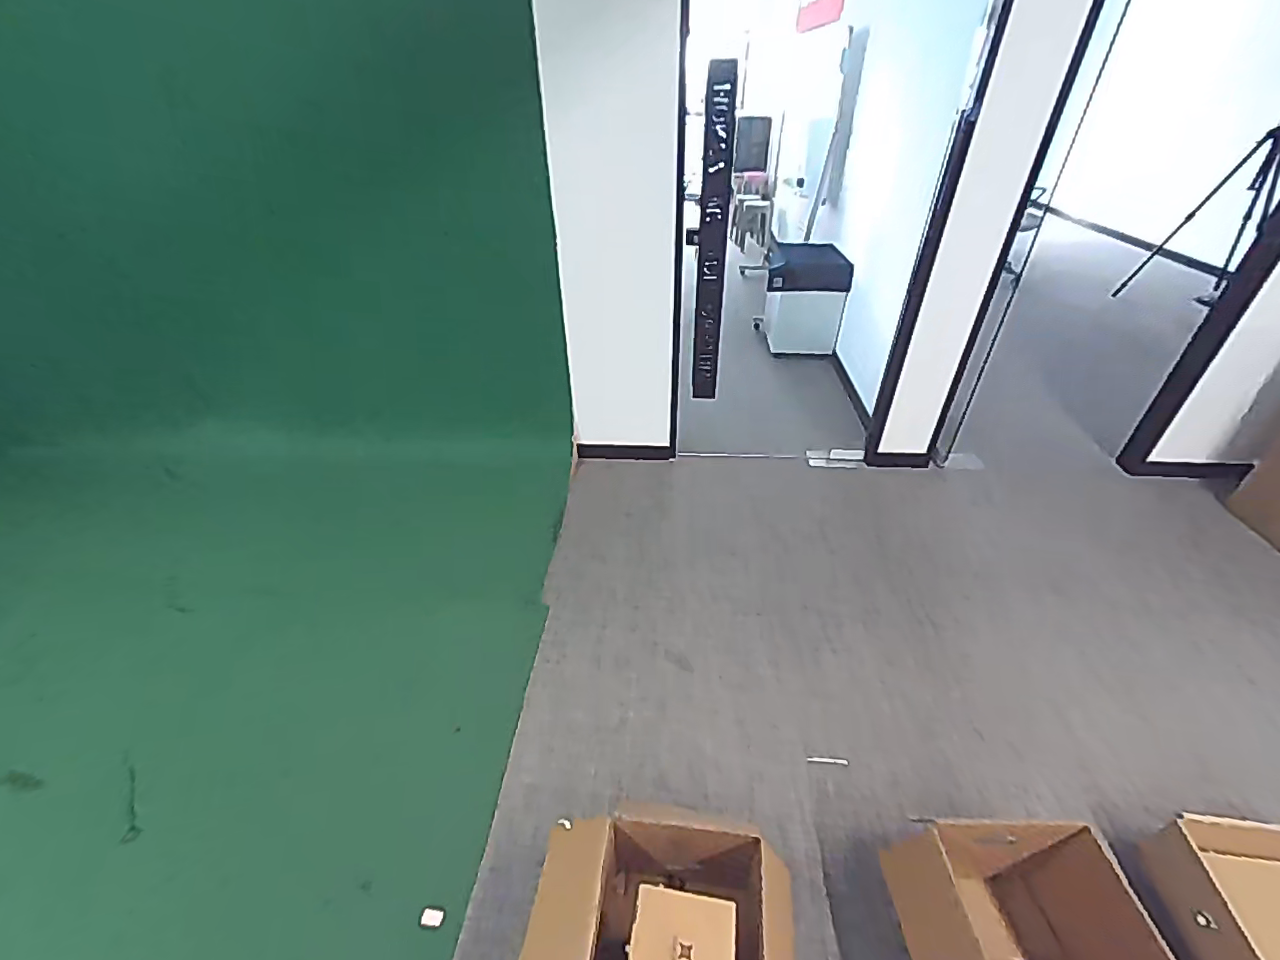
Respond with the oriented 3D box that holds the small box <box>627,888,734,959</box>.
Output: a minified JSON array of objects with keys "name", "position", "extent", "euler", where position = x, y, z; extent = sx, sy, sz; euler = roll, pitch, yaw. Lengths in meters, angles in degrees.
[{"name":"small box","position":[0.066,0.855,0.946],"extent":[0.179,0.176,0.168],"euler":[6,36,7]}]
